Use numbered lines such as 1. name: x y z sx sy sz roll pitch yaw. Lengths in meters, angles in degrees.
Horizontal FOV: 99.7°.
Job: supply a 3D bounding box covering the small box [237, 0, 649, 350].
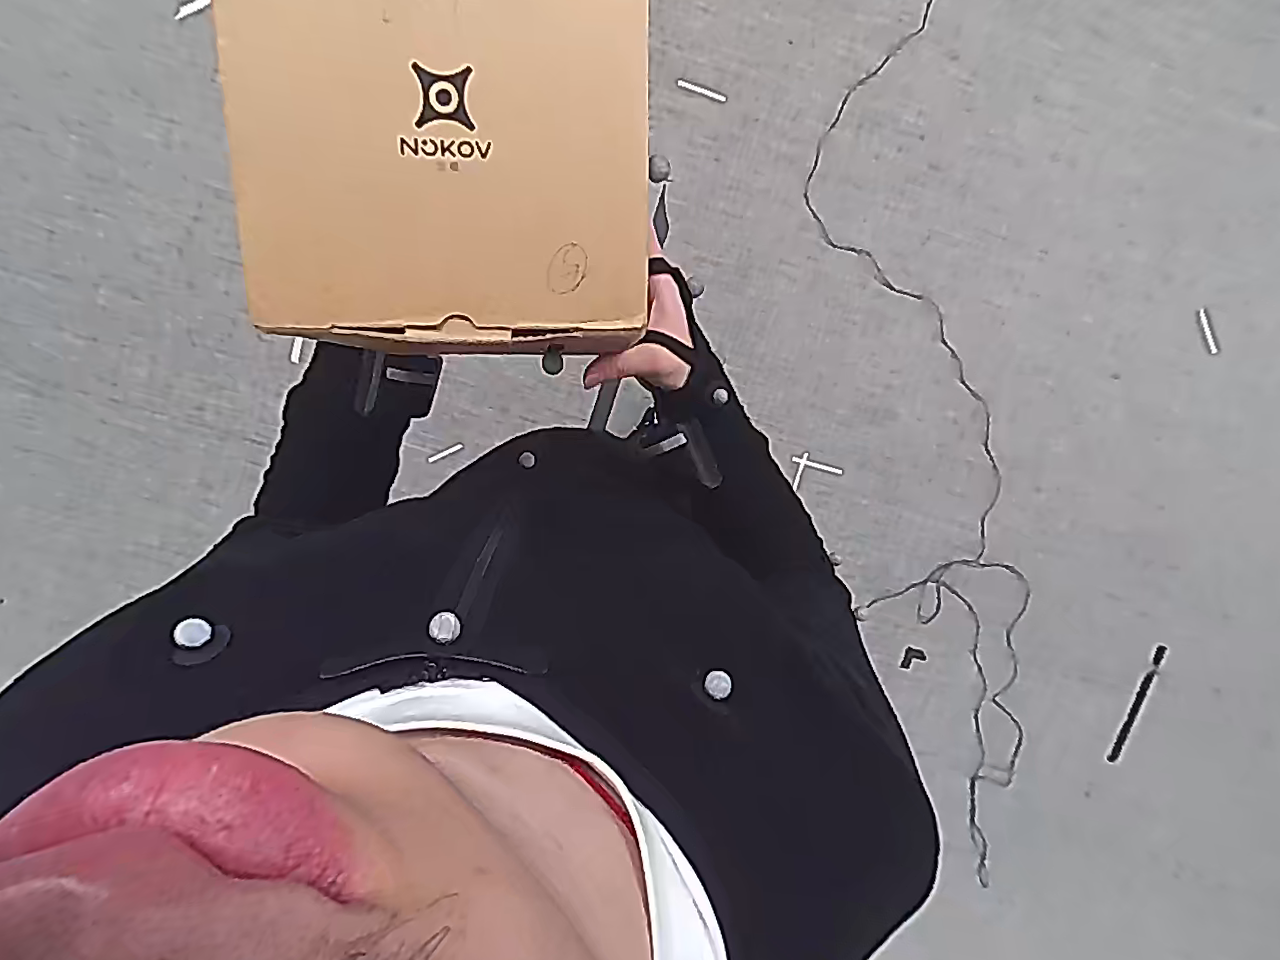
1. small box: -0.085 -0.167 0.306 0.168 0.176 0.179 -1 100 -7
